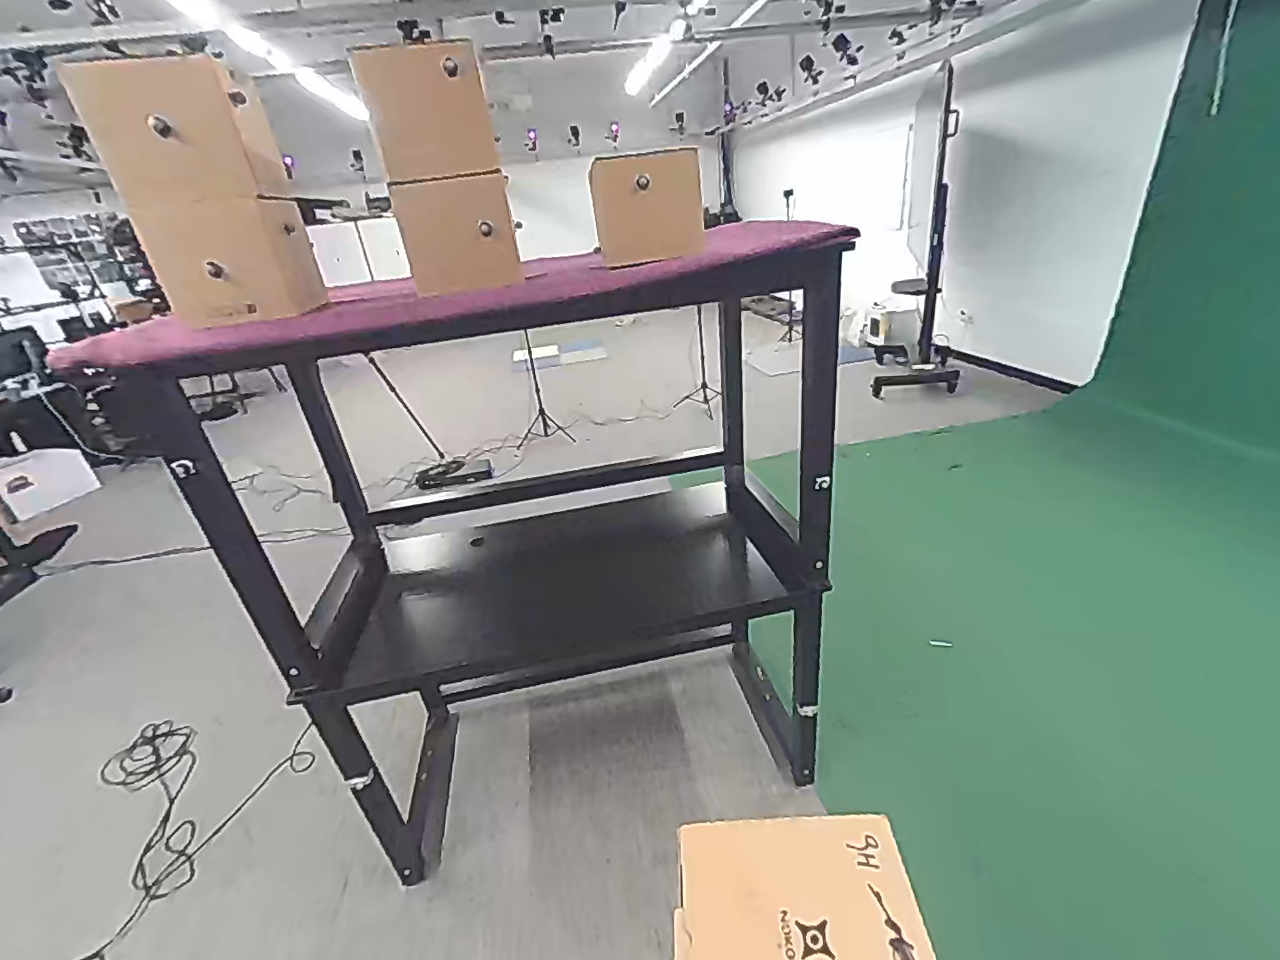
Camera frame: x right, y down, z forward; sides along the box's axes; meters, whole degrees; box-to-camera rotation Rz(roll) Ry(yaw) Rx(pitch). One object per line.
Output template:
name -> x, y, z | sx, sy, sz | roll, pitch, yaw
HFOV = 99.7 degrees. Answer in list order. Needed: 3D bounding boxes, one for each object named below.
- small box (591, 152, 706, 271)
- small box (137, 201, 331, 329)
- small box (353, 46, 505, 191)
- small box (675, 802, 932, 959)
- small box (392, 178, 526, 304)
small box -> 0.013, -0.483, 0.993 | 0.179, 0.176, 0.168 | -10, 24, -5
small box -> -0.626, -0.343, 0.866 | 0.168, 0.176, 0.179 | -10, 27, -9
small box -> -0.322, -0.558, 0.864 | 0.179, 0.176, 0.168 | -11, 26, -9
small box -> 0.126, 0.389, 0.431 | 0.179, 0.176, 0.168 | -7, 30, 7
small box -> -0.297, -0.412, 0.934 | 0.179, 0.176, 0.168 | -12, 26, -7
